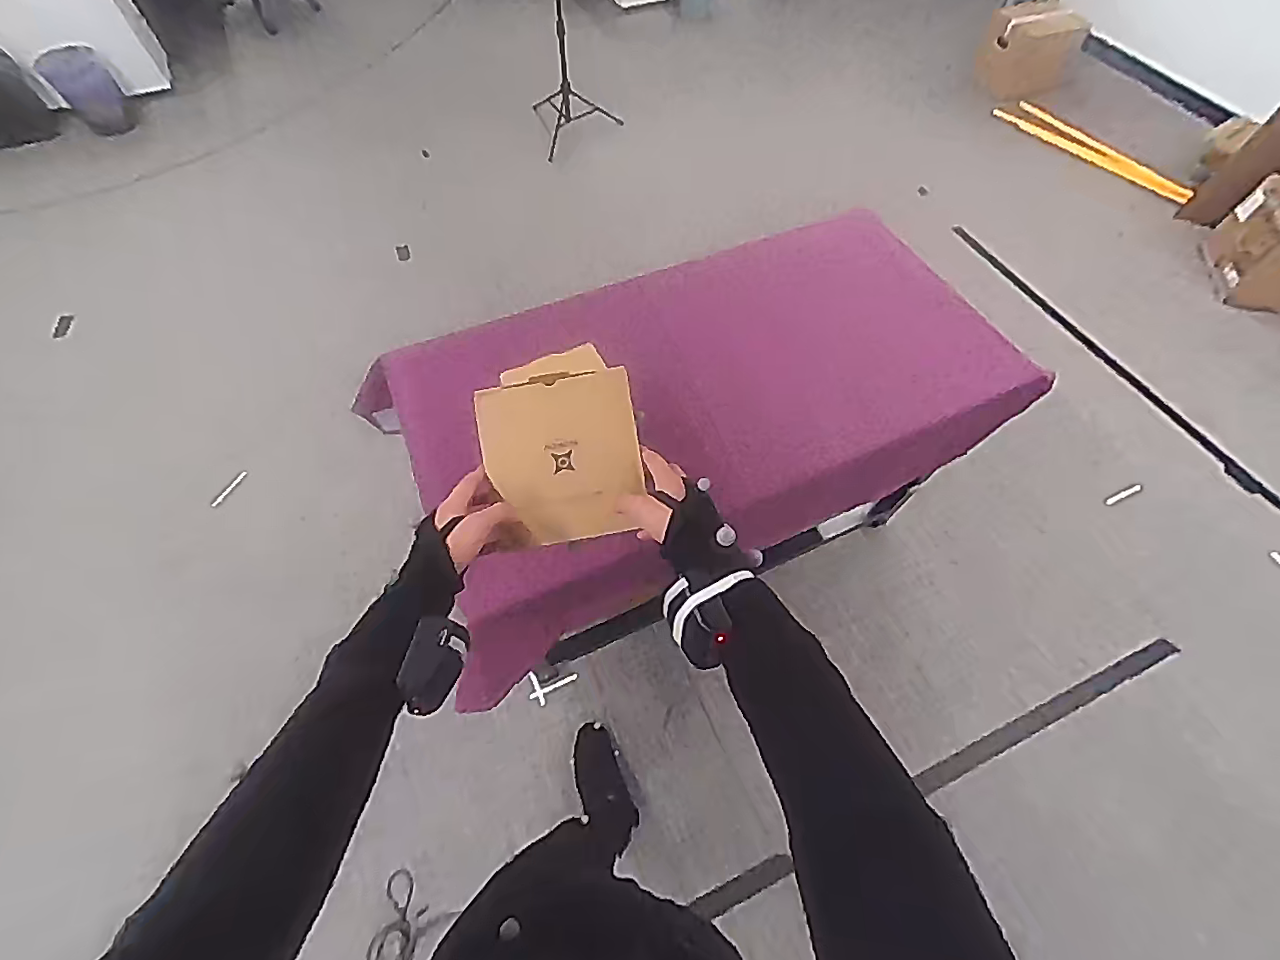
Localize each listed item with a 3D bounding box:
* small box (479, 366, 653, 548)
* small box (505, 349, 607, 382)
[{"bbox_3d":[-0.081,-0.019,0.647,0.168,0.176,0.179,-9,86,-1],"label":"small box"},{"bbox_3d":[-0.114,-0.086,0.924,0.168,0.176,0.179,-23,63,-14],"label":"small box"}]
